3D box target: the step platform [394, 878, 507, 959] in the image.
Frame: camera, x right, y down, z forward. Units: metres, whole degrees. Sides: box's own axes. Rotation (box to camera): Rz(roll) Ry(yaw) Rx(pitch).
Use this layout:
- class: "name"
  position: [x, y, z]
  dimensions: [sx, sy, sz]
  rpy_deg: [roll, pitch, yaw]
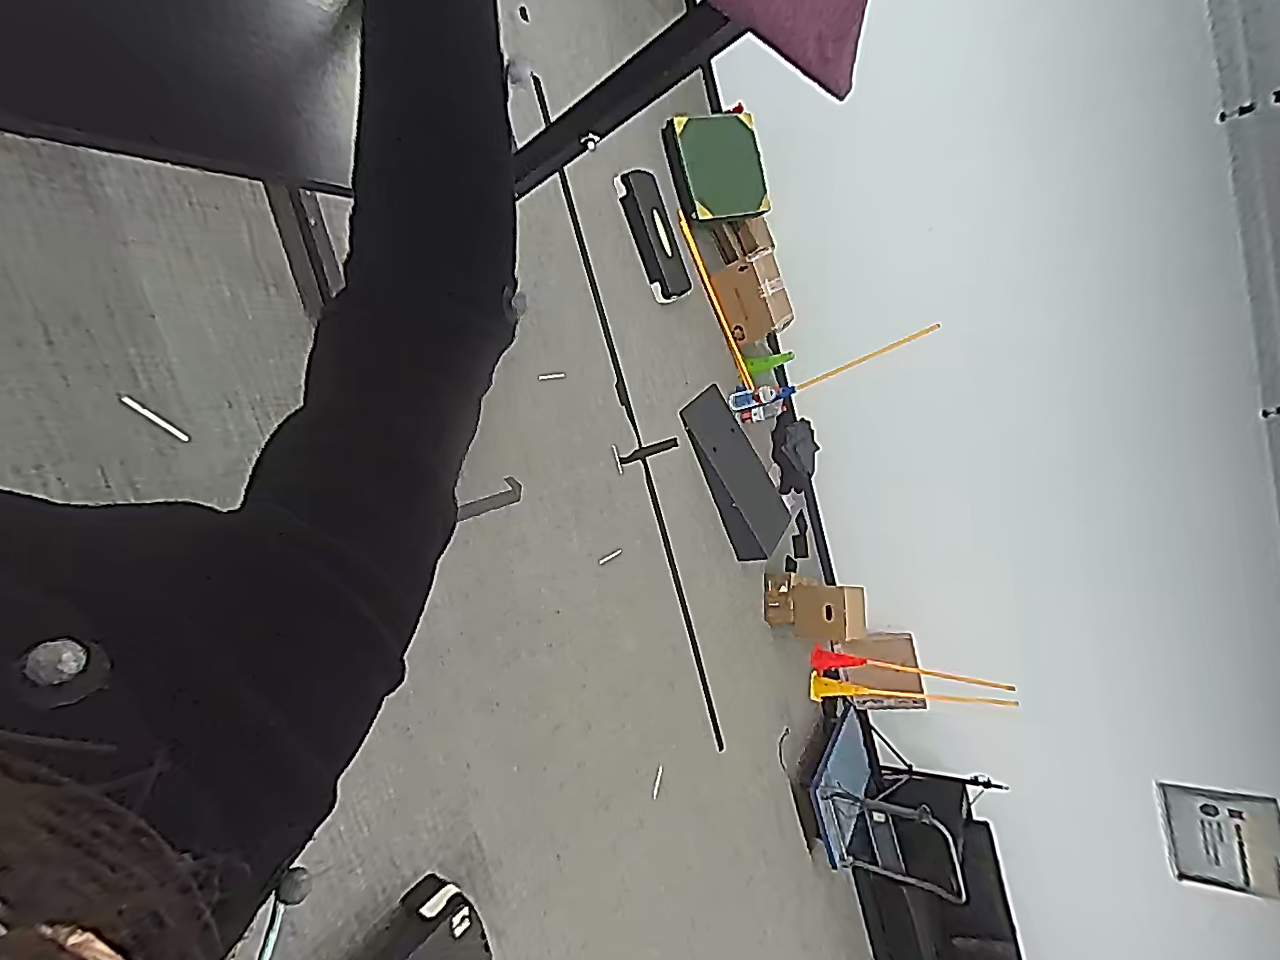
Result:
- class: "step platform"
  position: [-0.630, 1.300, 1.254]
  dimensions: [0.684, 0.204, 0.286]
  rpy_deg: [-13, 91, -53]
